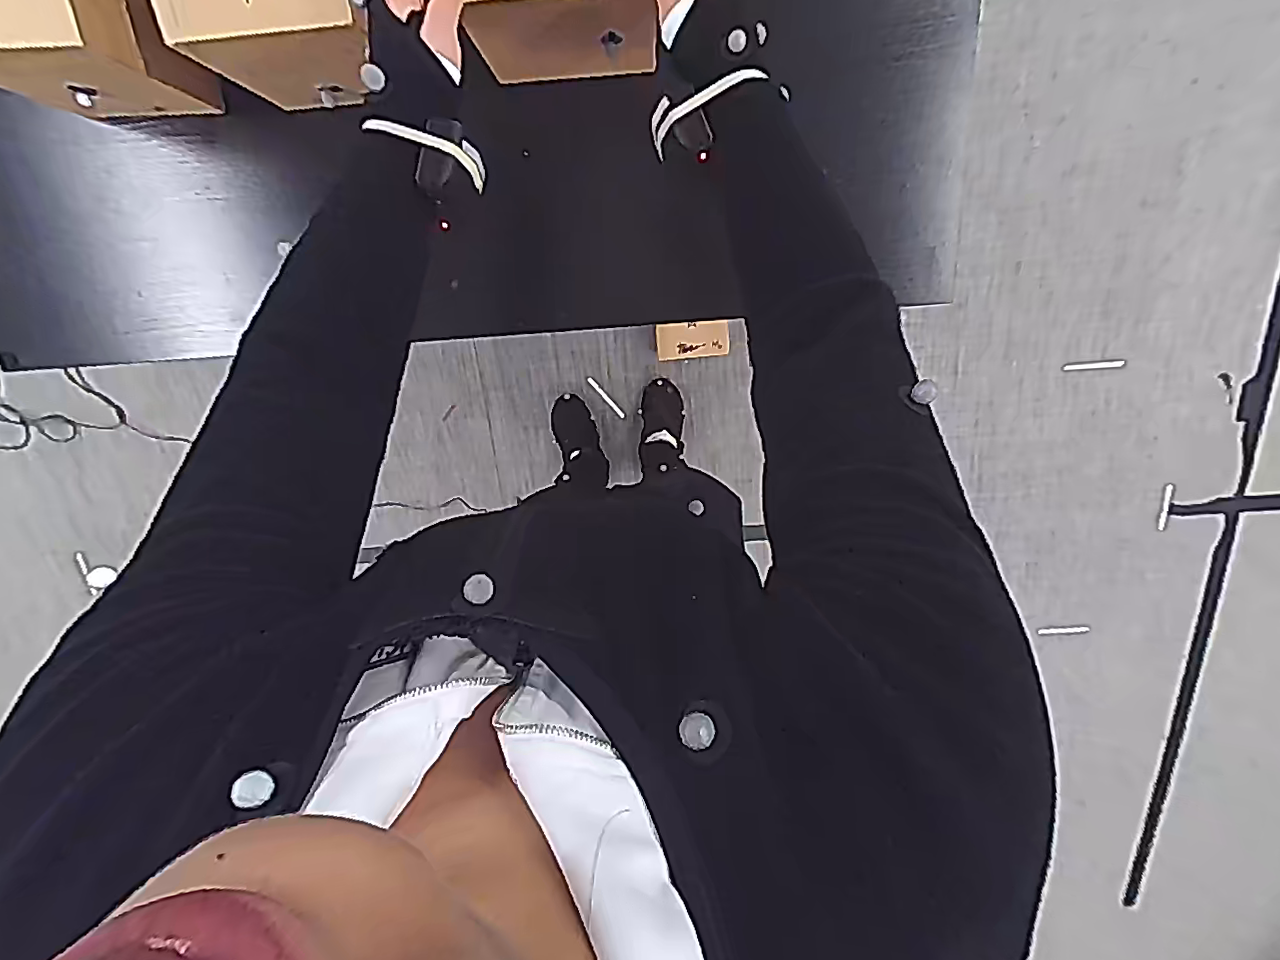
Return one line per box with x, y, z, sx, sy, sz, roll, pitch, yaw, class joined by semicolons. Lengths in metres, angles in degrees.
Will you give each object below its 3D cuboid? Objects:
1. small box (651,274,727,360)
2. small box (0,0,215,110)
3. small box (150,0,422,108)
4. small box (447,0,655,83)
0.113;-0.387;1.293;0.168;0.176;0.179;-5;107;3;small box
-0.550;-0.469;0.505;0.168;0.176;0.179;-2;107;0;small box
-0.325;-0.480;0.502;0.168;0.176;0.179;-4;108;1;small box
-0.078;-0.498;0.498;0.179;0.176;0.168;-4;106;2;small box
